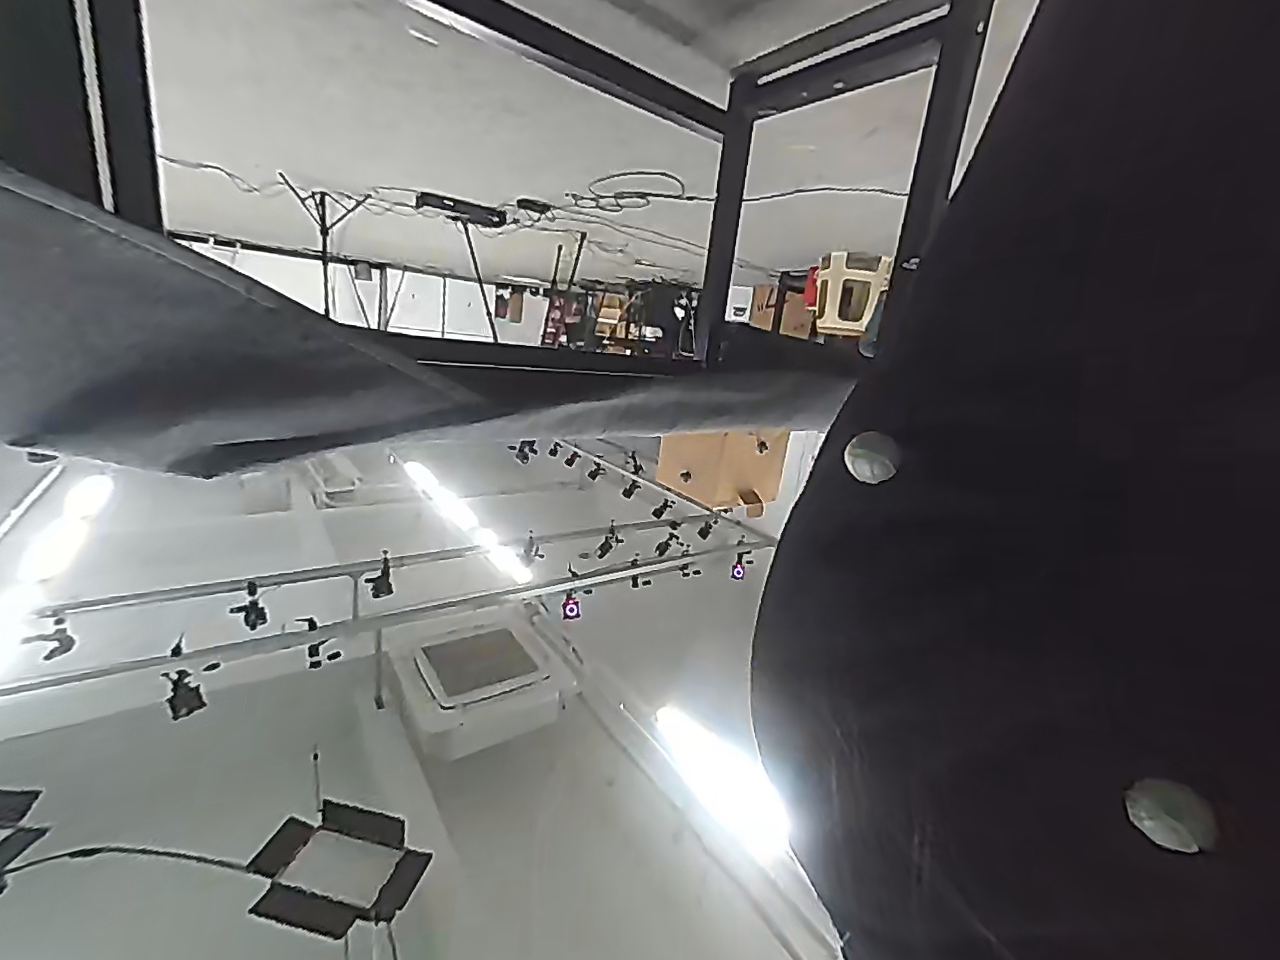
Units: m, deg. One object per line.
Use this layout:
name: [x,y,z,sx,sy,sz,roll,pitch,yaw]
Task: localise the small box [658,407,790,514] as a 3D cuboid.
small box: [0.159,-0.046,1.024,0.168,0.176,0.179,-3,-163,-34]
